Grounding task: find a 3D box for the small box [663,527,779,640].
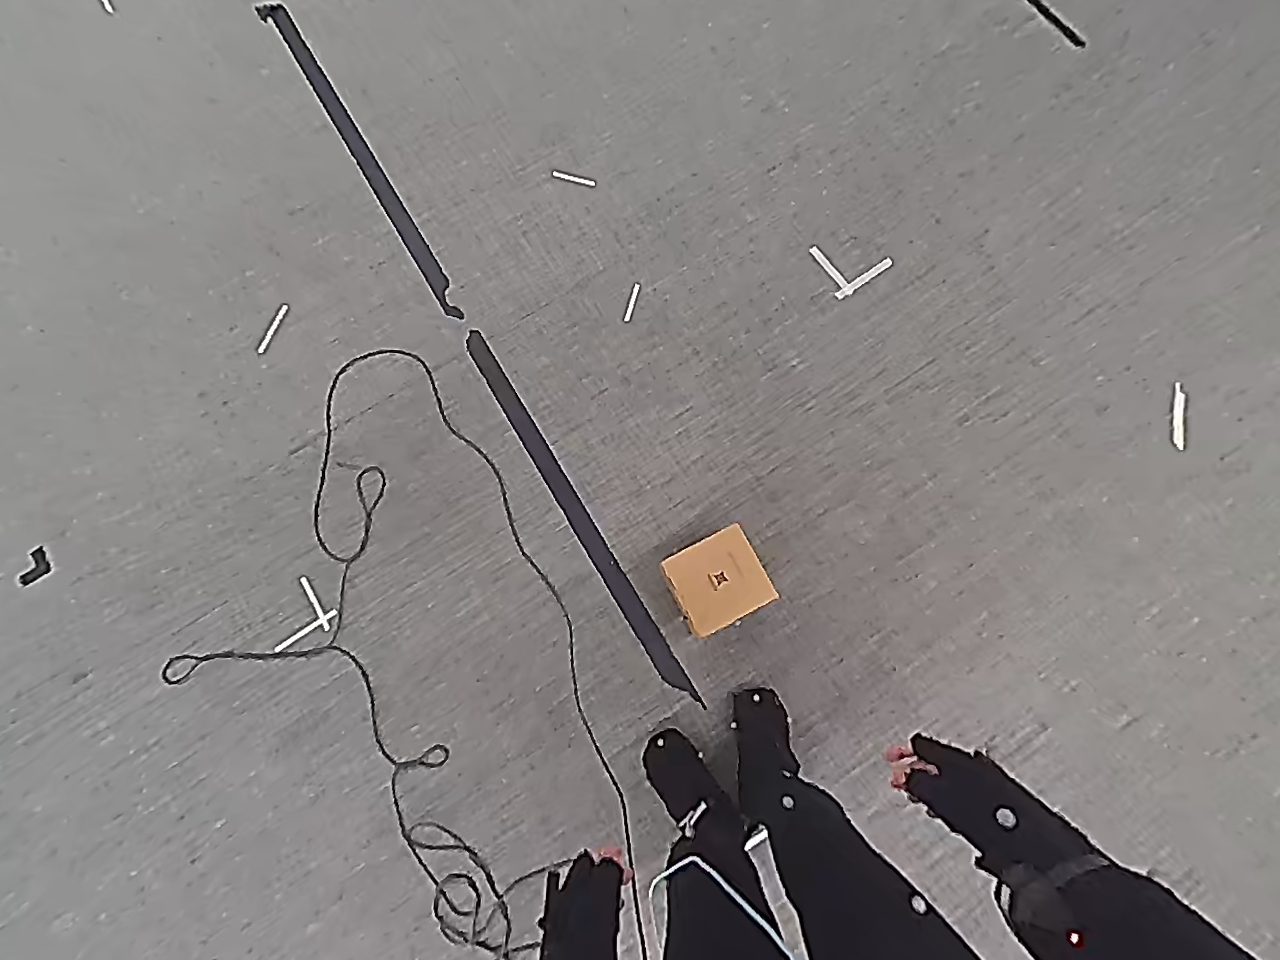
[{"bbox_3d":[0.160,0.217,1.123,0.179,0.176,0.168,-27,78,-5],"label":"small box"}]
